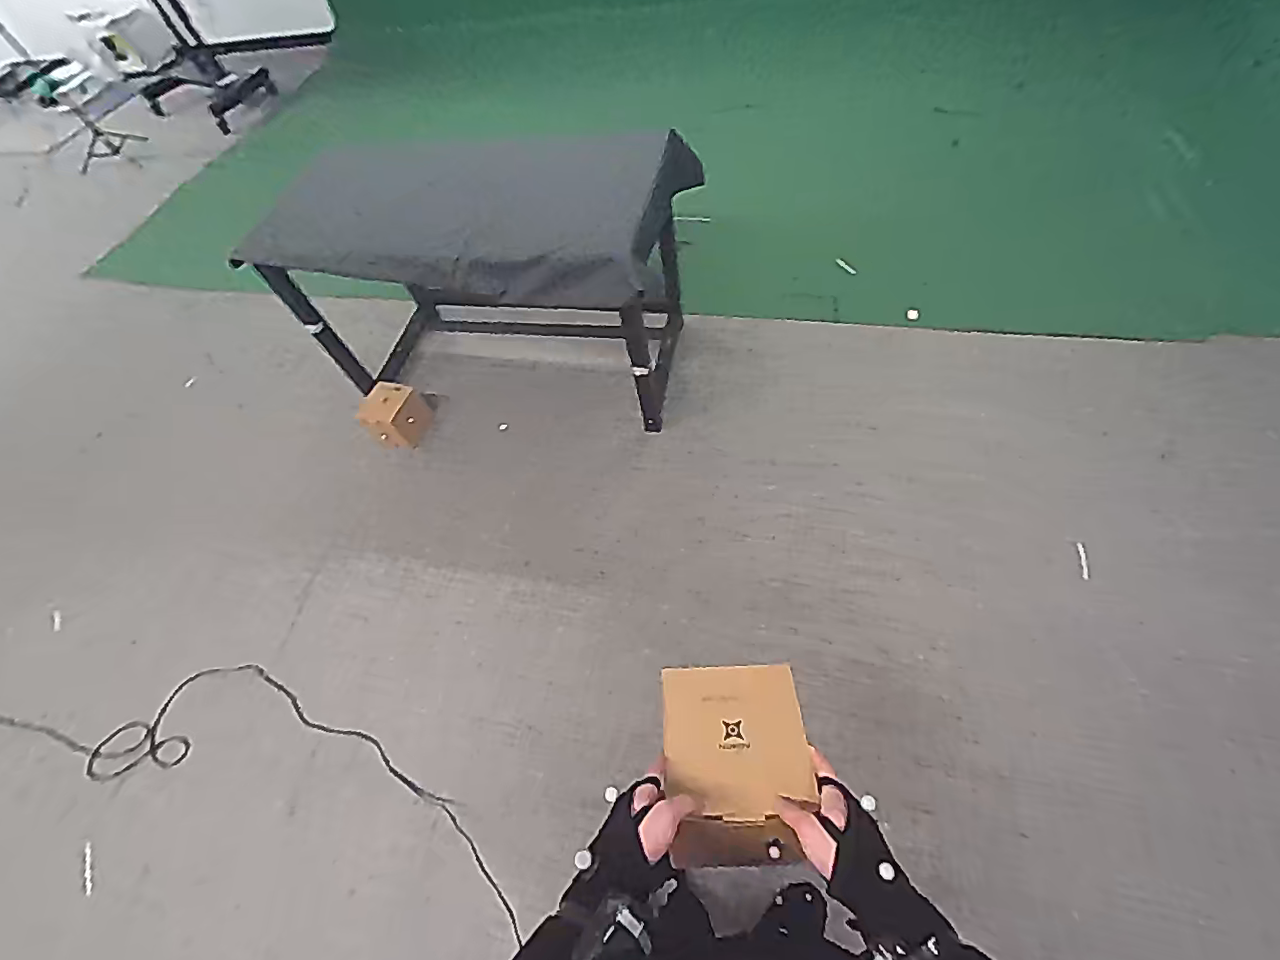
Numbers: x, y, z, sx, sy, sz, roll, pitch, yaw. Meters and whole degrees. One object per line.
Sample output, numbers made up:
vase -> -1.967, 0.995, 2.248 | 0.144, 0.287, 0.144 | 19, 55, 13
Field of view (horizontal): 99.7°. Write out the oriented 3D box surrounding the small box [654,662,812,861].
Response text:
small box -> 0.106, 0.353, 0.674 | 0.168, 0.176, 0.179 | -4, 39, 3
